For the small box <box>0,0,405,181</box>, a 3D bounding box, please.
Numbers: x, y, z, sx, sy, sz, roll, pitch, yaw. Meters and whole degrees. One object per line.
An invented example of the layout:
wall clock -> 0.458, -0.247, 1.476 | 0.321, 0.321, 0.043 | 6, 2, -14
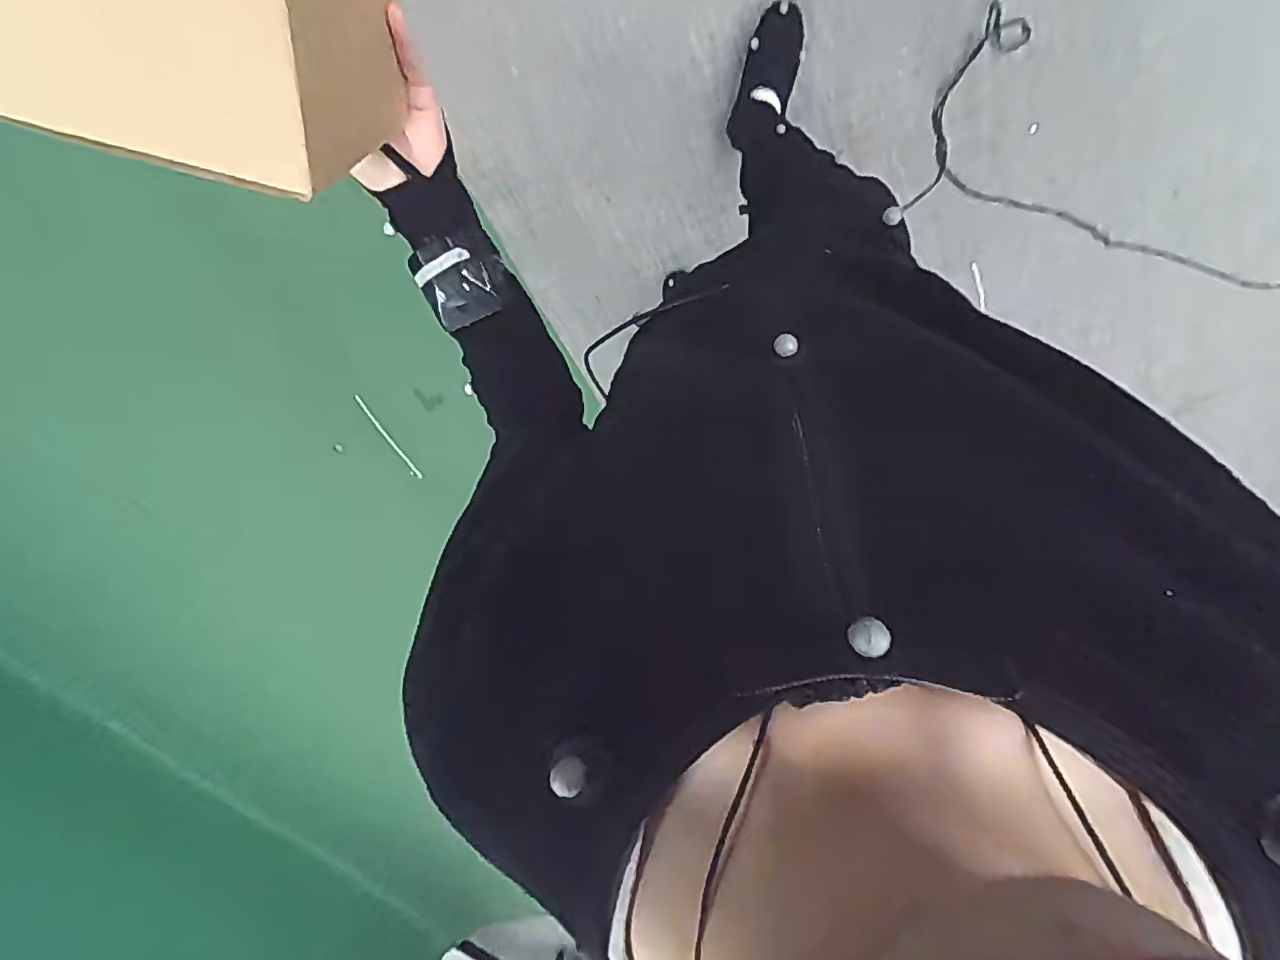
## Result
small box -> -0.217, -0.273, 0.244 | 0.179, 0.168, 0.176 | 12, 134, -12
